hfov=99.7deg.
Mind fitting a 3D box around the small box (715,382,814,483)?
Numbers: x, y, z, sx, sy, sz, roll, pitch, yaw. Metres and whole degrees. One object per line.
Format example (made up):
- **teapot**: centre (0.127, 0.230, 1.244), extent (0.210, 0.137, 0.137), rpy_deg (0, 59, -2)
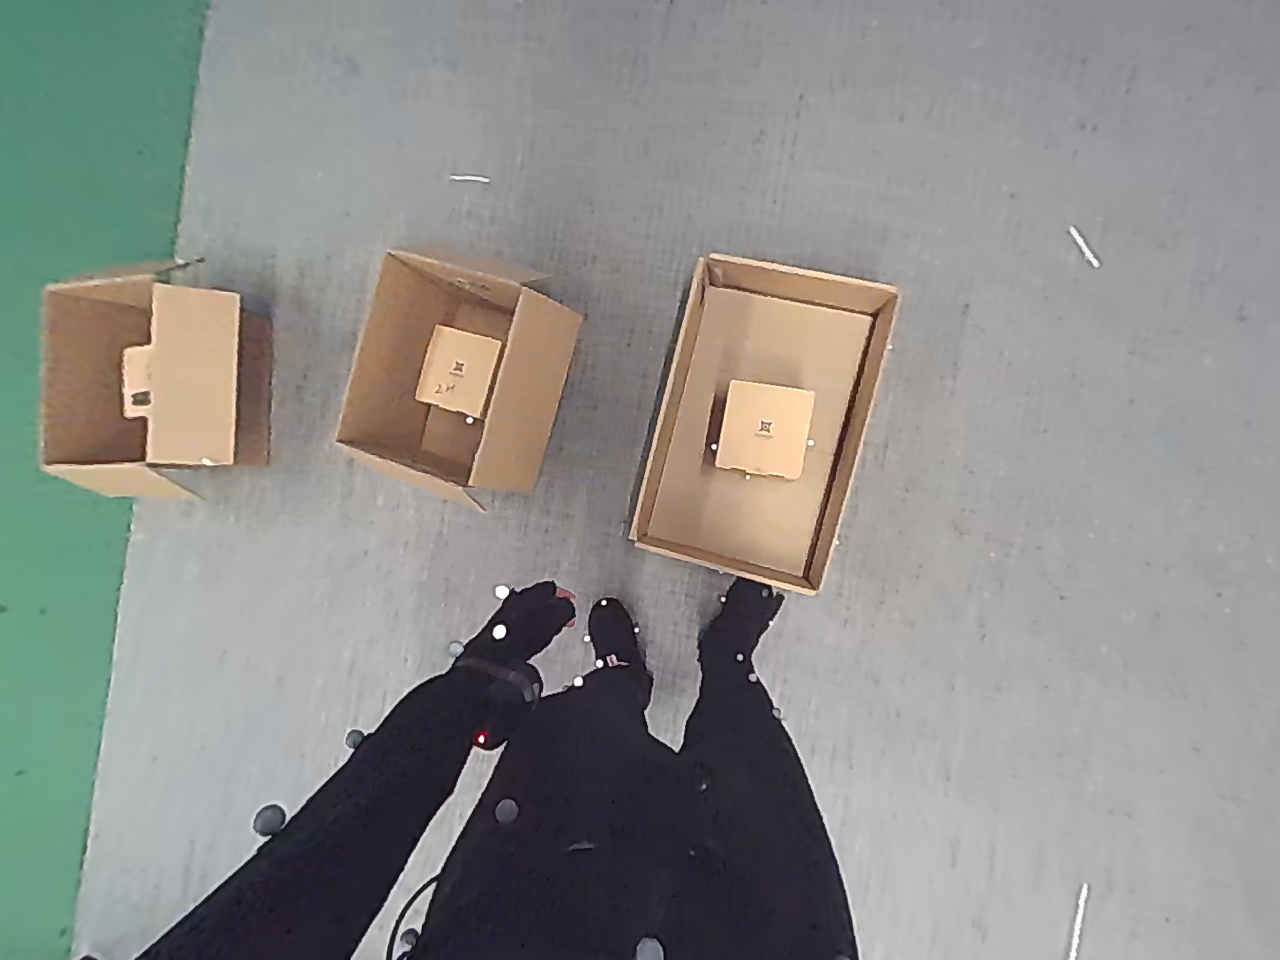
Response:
- **small box**: centre (0.252, -0.092, 1.124), extent (0.168, 0.176, 0.179), rpy_deg (10, 91, 10)
